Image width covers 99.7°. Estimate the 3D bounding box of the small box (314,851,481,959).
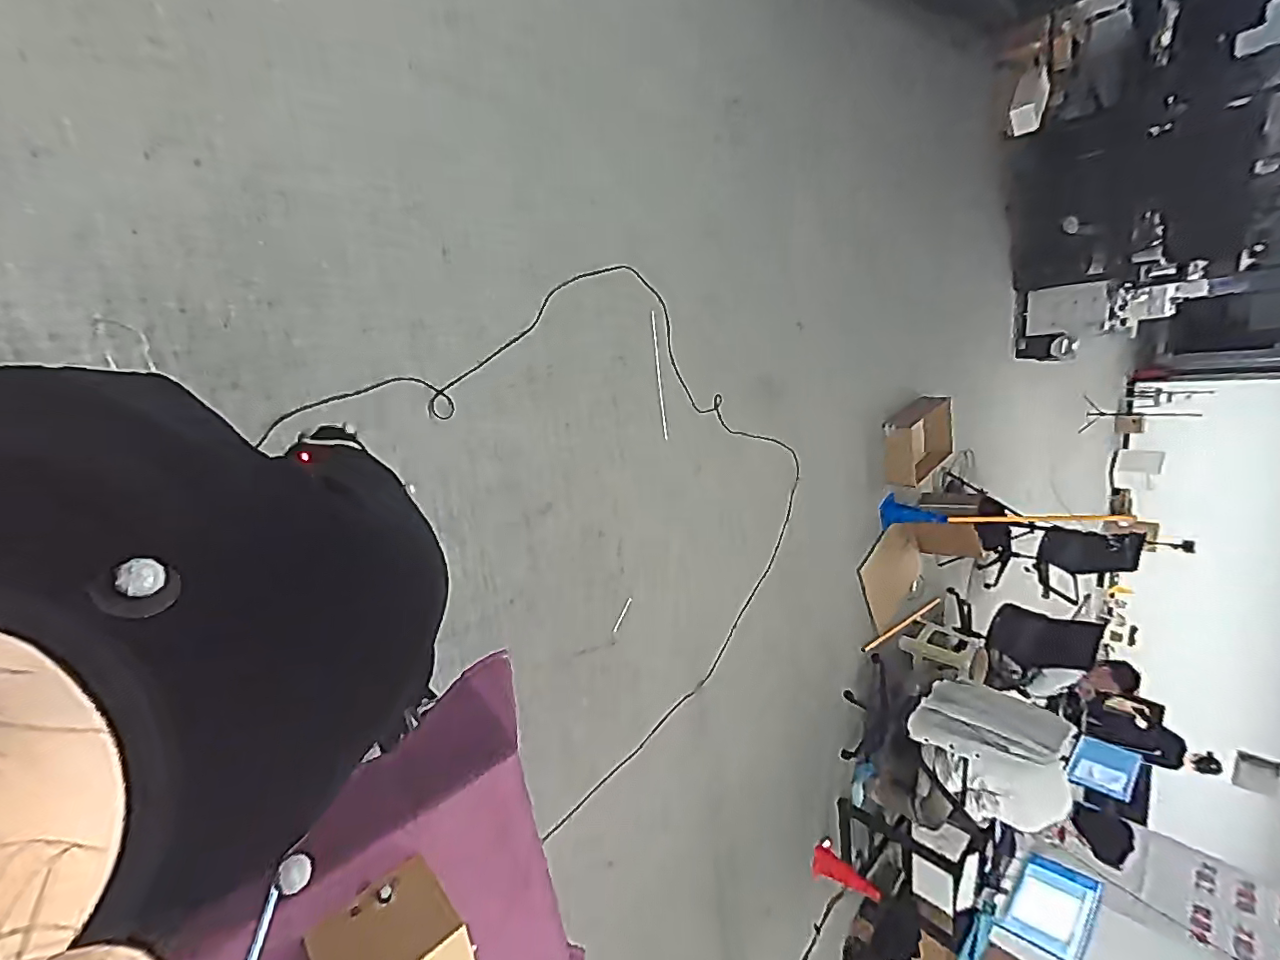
[{"bbox_3d":[-0.332,0.682,0.758,0.168,0.176,0.179,-19,107,-39],"label":"small box"}]
